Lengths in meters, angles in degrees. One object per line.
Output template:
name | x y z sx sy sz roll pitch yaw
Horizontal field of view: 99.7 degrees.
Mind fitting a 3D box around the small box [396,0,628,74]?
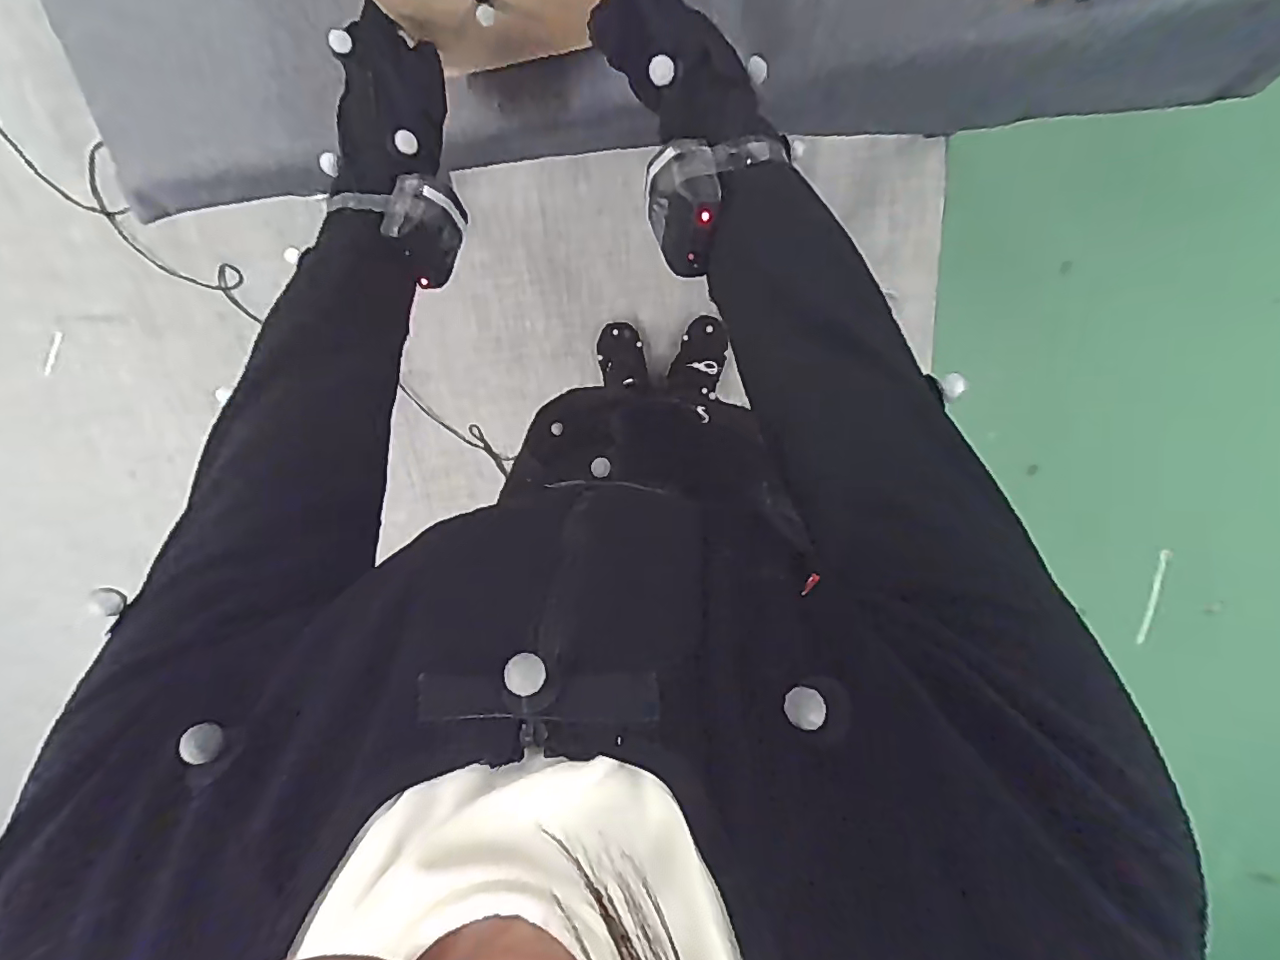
small box | -0.114 -0.451 0.415 0.179 0.176 0.168 -7 105 7
